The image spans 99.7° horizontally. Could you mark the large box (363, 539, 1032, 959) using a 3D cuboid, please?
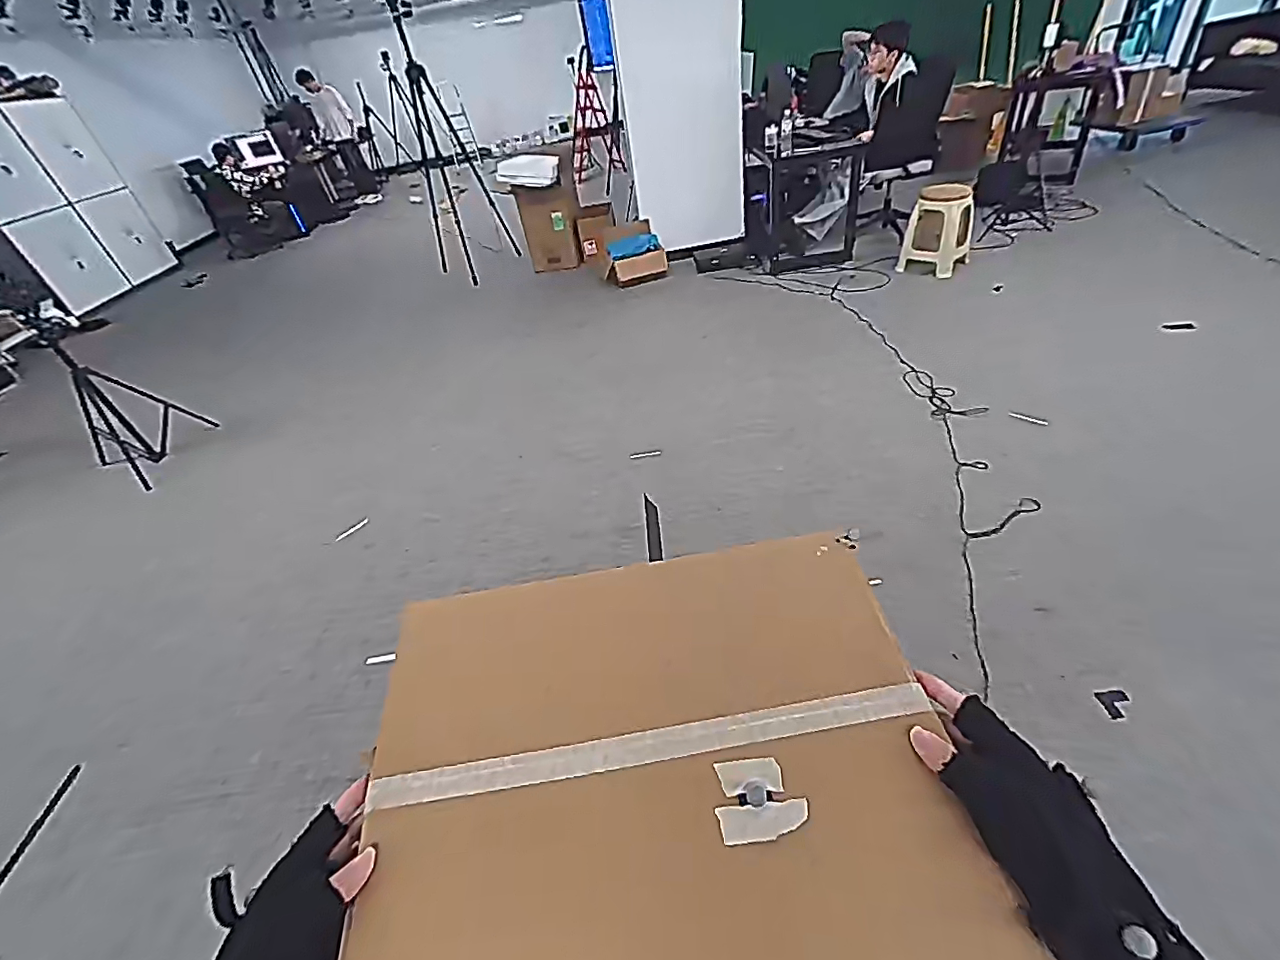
[{"bbox_3d":[0.025,0.299,0.511,0.408,0.320,0.320,-9,47,-1],"label":"large box"}]
